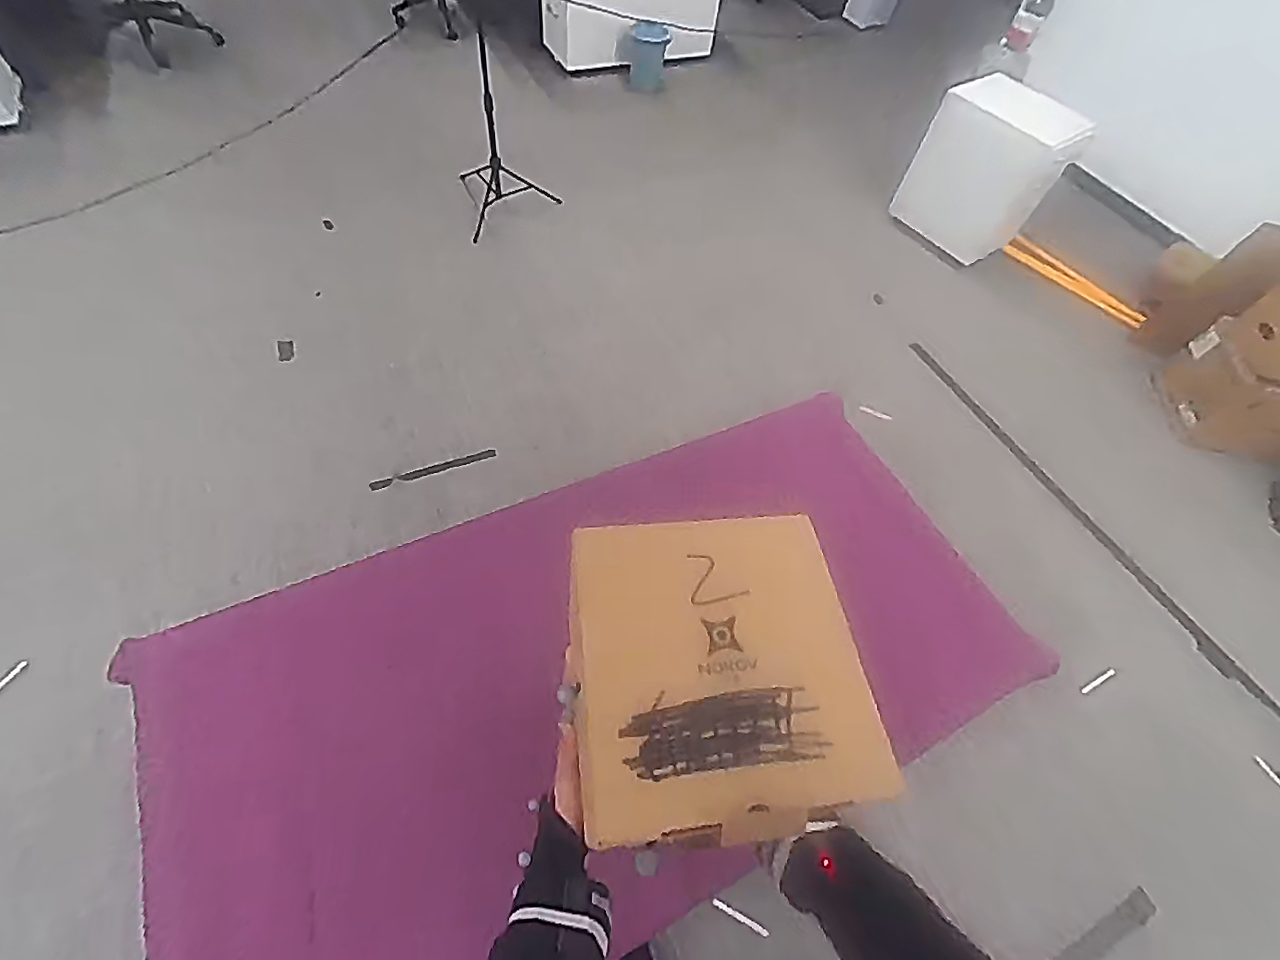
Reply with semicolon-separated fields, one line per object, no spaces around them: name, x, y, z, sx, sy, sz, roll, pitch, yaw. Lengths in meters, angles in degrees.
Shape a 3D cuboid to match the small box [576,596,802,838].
small box;0.027;0.229;0.519;0.168;0.176;0.179;-3;58;-10
